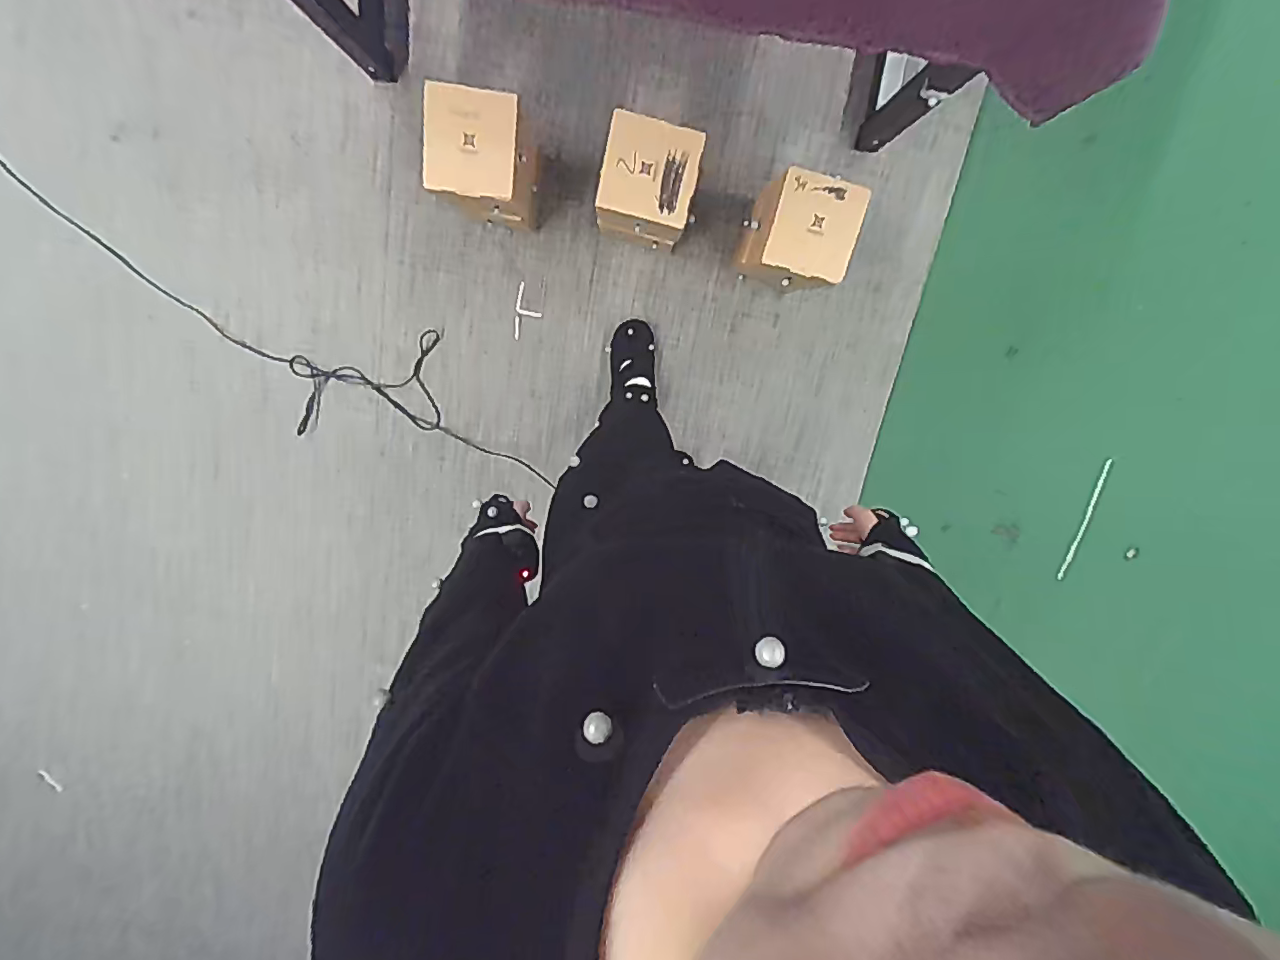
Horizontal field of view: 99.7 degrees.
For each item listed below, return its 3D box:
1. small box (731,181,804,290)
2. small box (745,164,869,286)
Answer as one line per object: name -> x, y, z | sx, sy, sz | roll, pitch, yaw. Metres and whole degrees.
small box -> 0.321, -0.554, 1.255 | 0.168, 0.176, 0.179 | 18, 104, -6
small box -> 0.325, -0.503, 1.096 | 0.168, 0.176, 0.179 | 14, 106, -7
